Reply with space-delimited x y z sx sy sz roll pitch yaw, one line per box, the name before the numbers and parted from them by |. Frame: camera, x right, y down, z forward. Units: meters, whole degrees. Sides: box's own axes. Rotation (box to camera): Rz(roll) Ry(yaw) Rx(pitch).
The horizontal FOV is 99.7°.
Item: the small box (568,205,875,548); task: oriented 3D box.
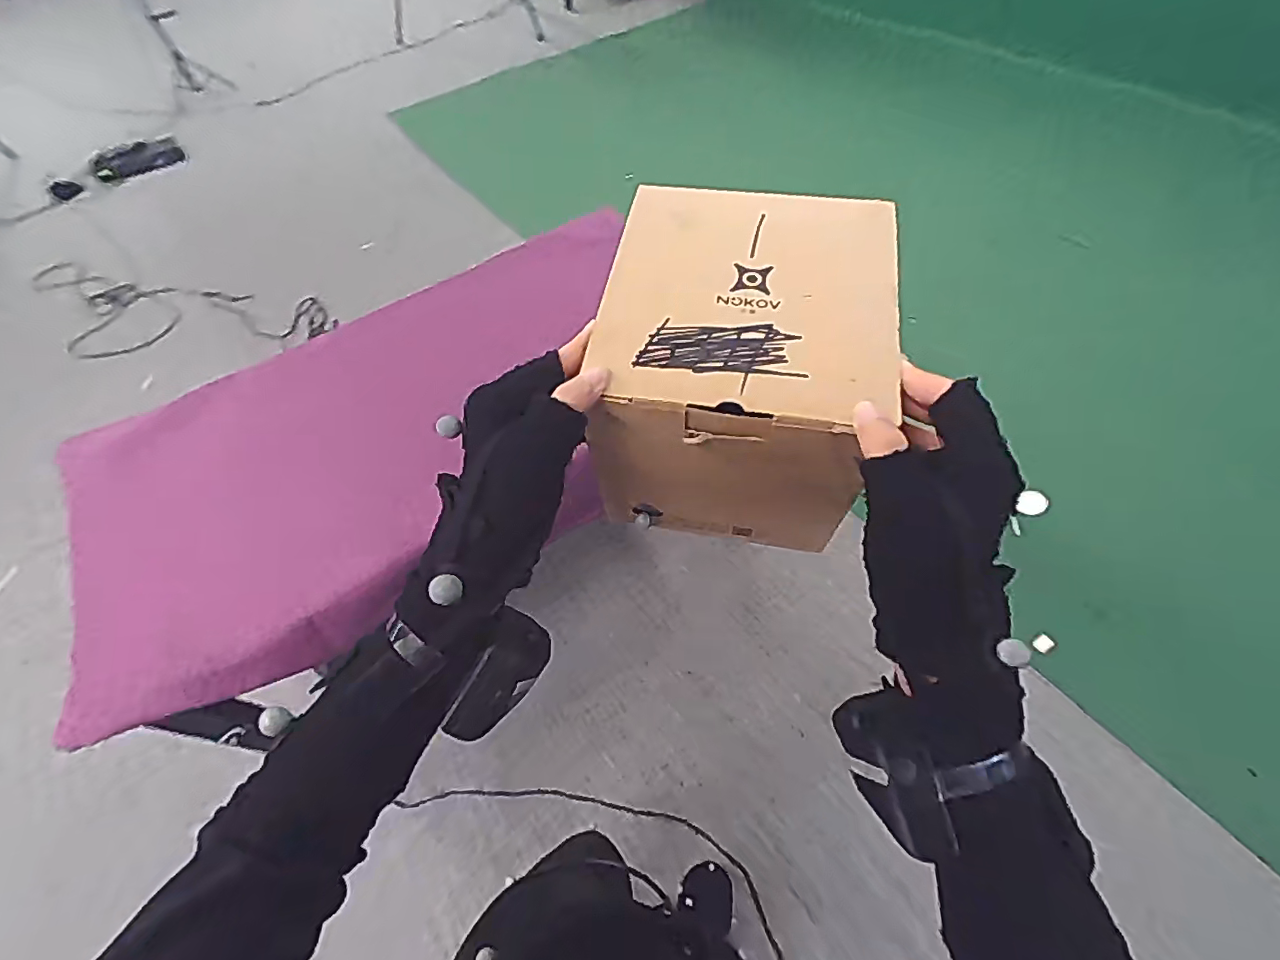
small box | 0.061 -0.066 0.394 0.168 0.176 0.179 8 61 8
